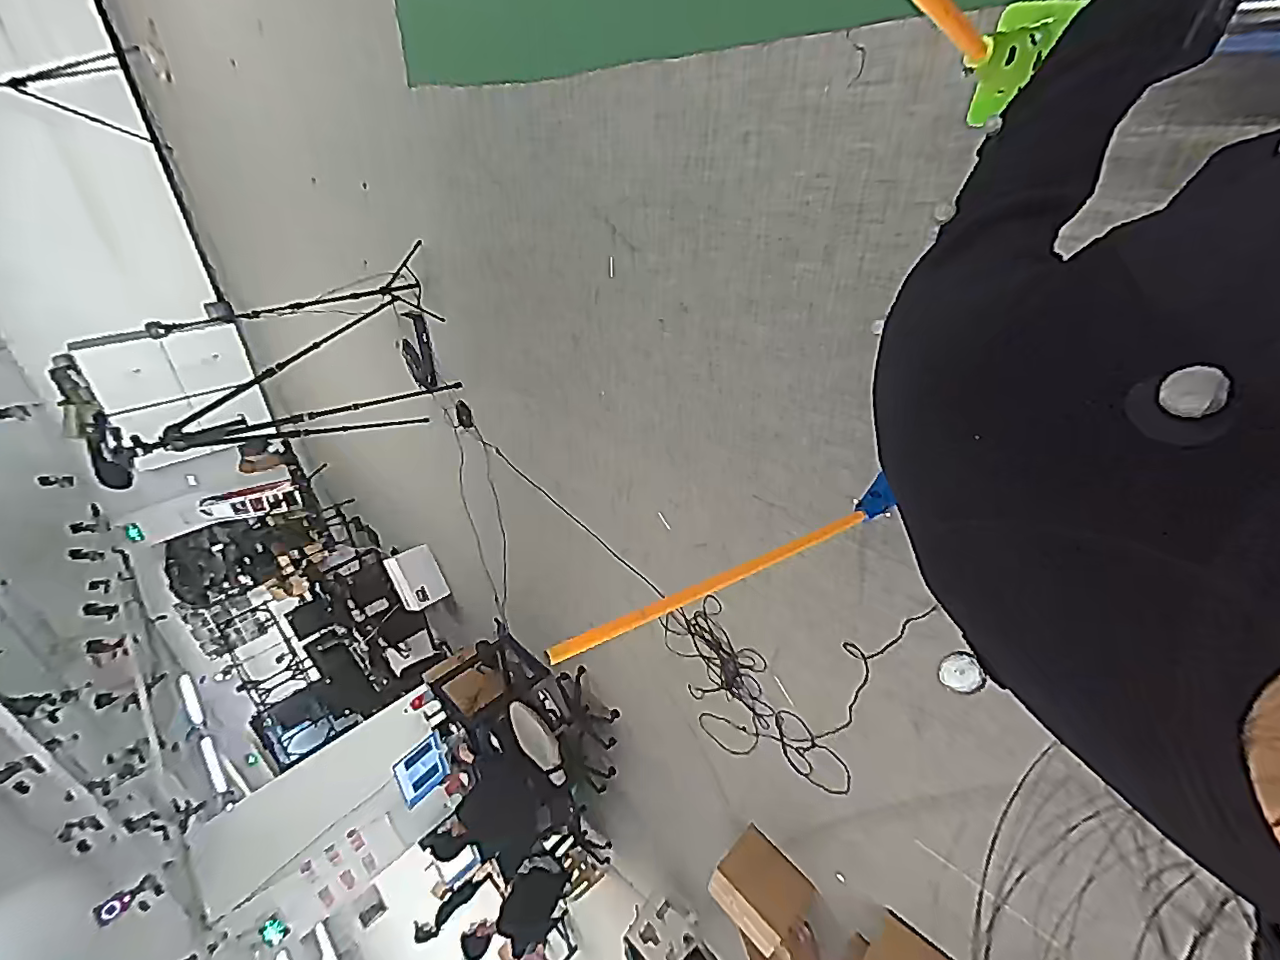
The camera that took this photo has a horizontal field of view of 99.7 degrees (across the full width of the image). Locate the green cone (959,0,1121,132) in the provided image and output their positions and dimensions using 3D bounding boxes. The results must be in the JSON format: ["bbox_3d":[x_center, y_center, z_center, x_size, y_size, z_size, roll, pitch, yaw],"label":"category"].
[{"bbox_3d":[0.656,-0.742,0.954,0.202,0.368,0.200,32,133,35],"label":"green cone"}]
